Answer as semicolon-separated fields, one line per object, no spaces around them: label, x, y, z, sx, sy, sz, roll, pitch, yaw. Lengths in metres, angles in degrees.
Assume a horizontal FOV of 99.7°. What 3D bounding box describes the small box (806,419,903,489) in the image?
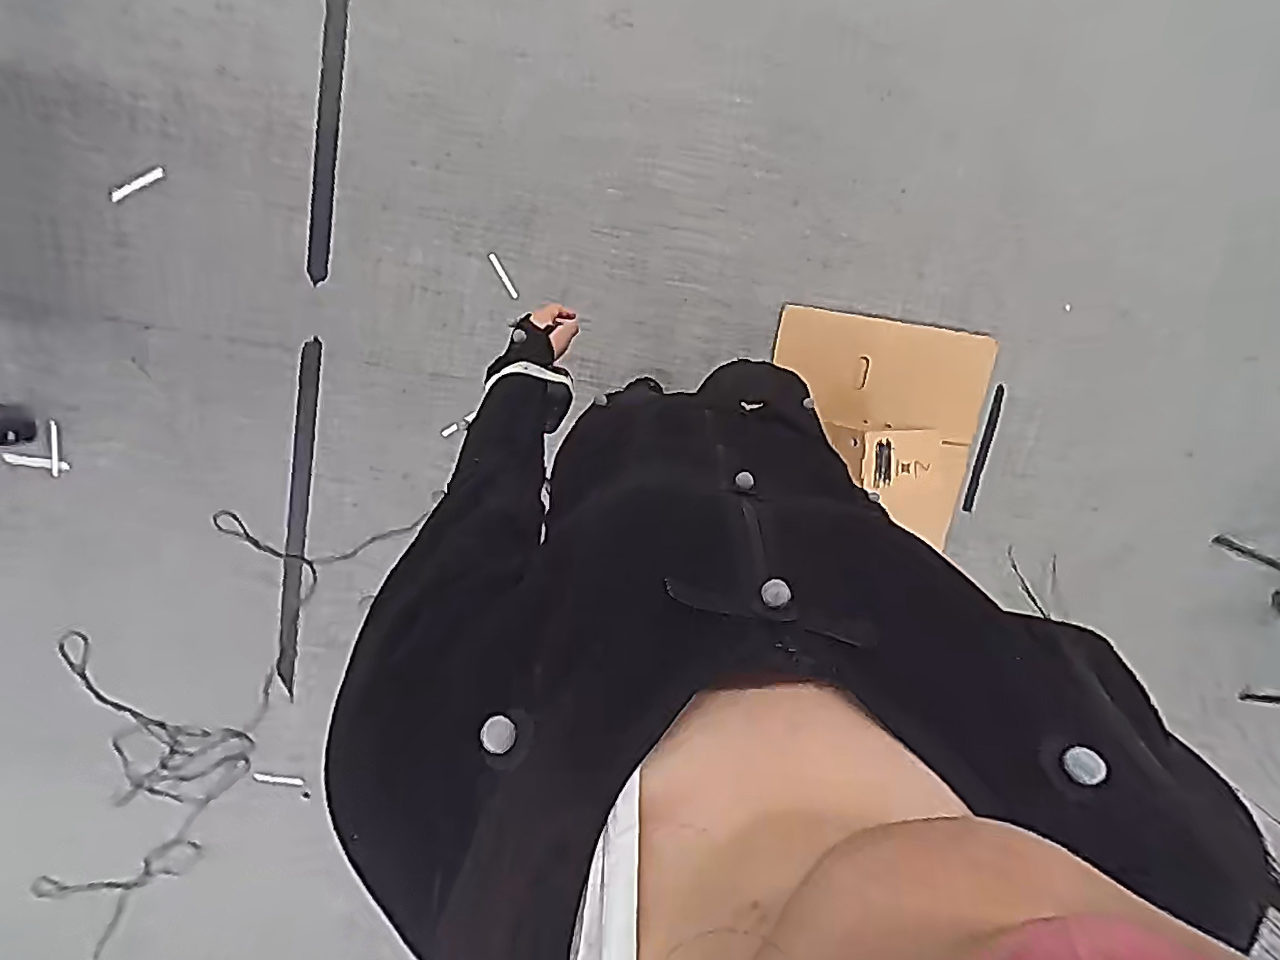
small box;0.555;-0.072;1.414;0.179;0.176;0.168;0;100;-3
